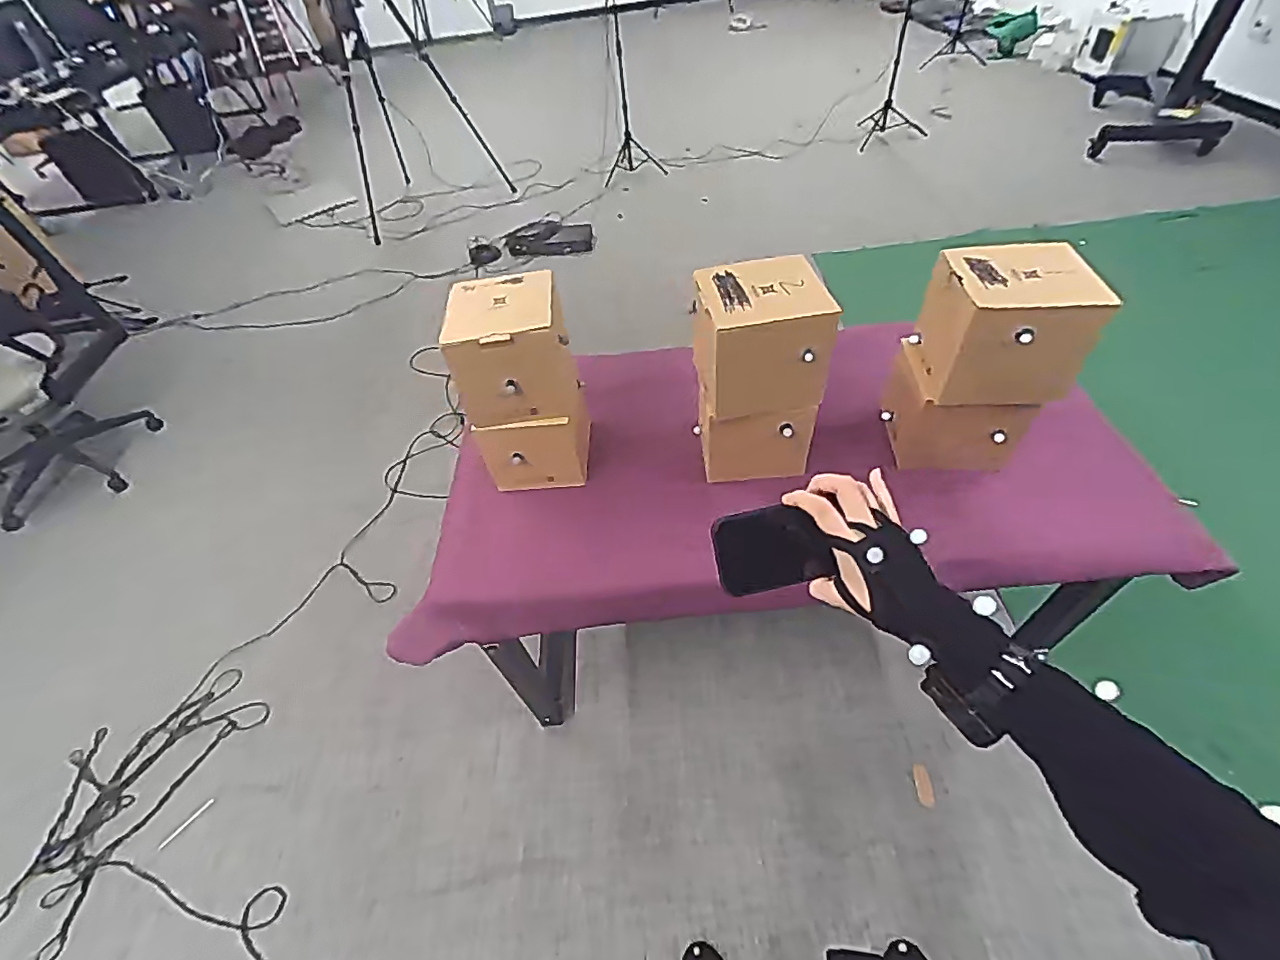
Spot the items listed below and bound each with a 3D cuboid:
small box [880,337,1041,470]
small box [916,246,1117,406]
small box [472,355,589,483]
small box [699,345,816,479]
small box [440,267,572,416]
[{"bbox_3d":[0.537,-0.129,0.934,0.179,0.176,0.168,1,50,8],"label":"small box"},{"bbox_3d":[0.530,-0.224,0.799,0.179,0.176,0.168,1,50,7],"label":"small box"},{"bbox_3d":[-0.191,-0.106,1.005,0.168,0.176,0.179,-3,49,4],"label":"small box"},{"bbox_3d":[0.198,-0.118,0.965,0.179,0.176,0.168,-4,49,4],"label":"small box"},{"bbox_3d":[-0.207,-0.218,0.886,0.168,0.176,0.179,-7,50,0],"label":"small box"}]
